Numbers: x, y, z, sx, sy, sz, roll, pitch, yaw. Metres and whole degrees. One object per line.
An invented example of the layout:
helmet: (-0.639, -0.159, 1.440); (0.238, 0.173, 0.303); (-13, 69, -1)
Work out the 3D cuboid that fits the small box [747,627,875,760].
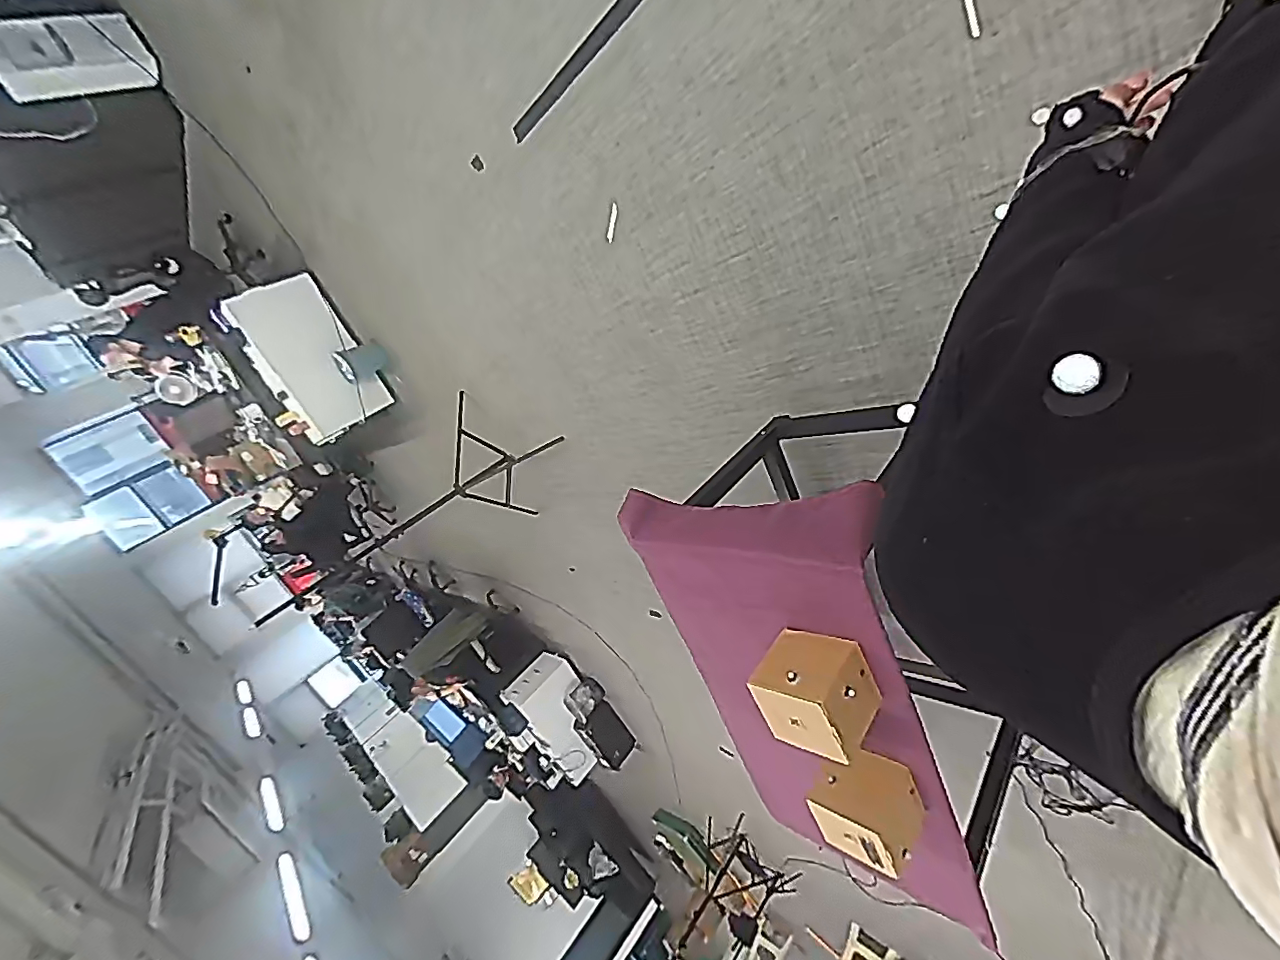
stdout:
small box: (0.359, 0.425, 1.110); (0.179, 0.176, 0.168); (-4, 119, 51)
